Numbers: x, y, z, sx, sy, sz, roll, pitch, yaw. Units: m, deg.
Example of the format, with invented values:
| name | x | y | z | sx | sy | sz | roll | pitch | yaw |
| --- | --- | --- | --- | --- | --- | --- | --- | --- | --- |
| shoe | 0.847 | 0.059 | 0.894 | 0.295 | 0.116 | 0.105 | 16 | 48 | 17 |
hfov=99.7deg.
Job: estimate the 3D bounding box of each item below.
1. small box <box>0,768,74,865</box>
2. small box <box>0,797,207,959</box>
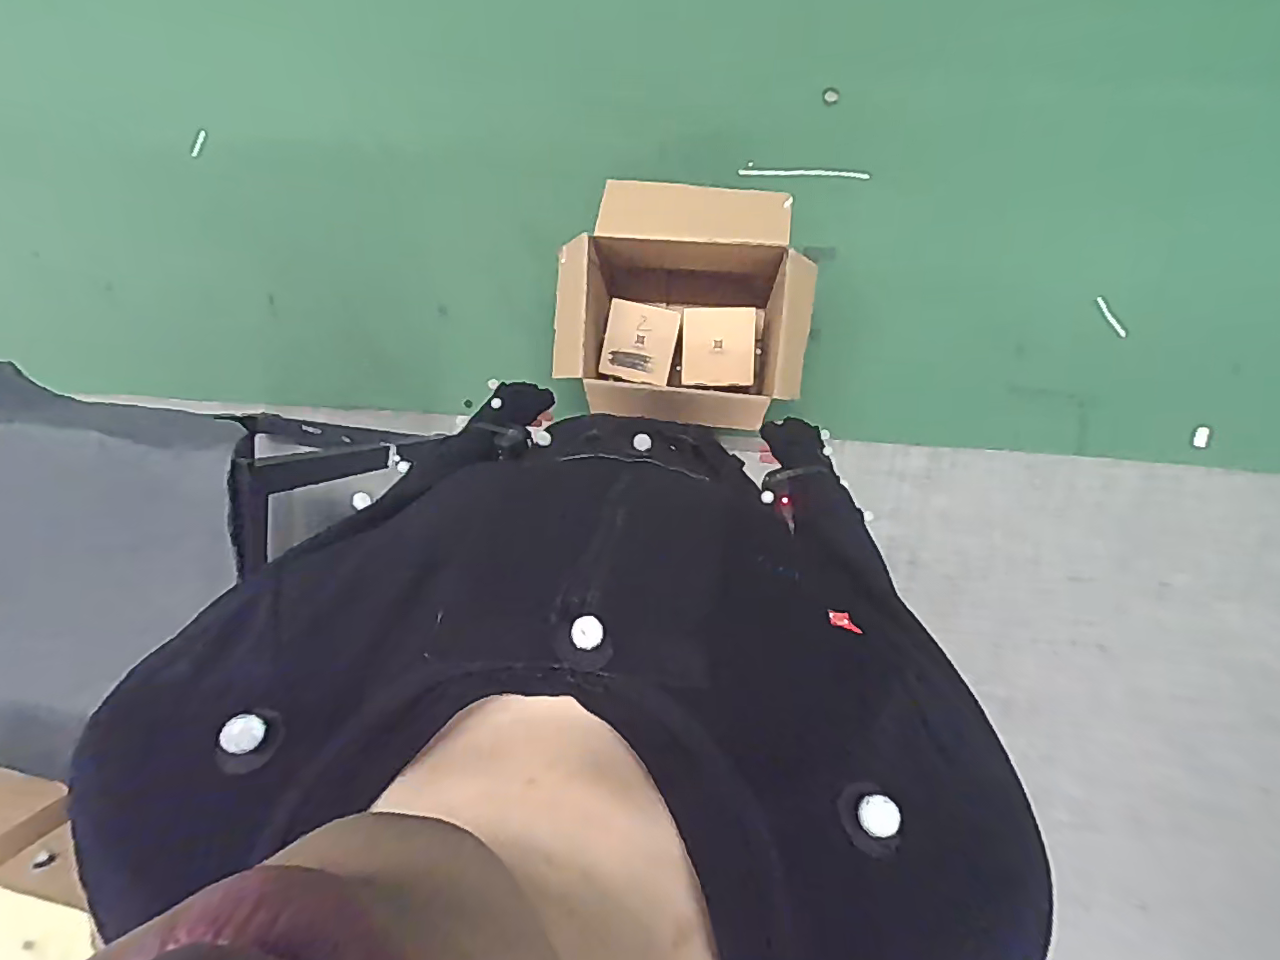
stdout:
| name | x | y | z | sx | sy | sz | roll | pitch | yaw |
| --- | --- | --- | --- | --- | --- | --- | --- | --- | --- |
| small box | -1.039 | 0.580 | 0.836 | 0.179 | 0.176 | 0.168 | 10 | 99 | 4 |
| small box | -0.814 | 0.621 | 0.821 | 0.179 | 0.176 | 0.168 | 10 | 99 | 4 |
